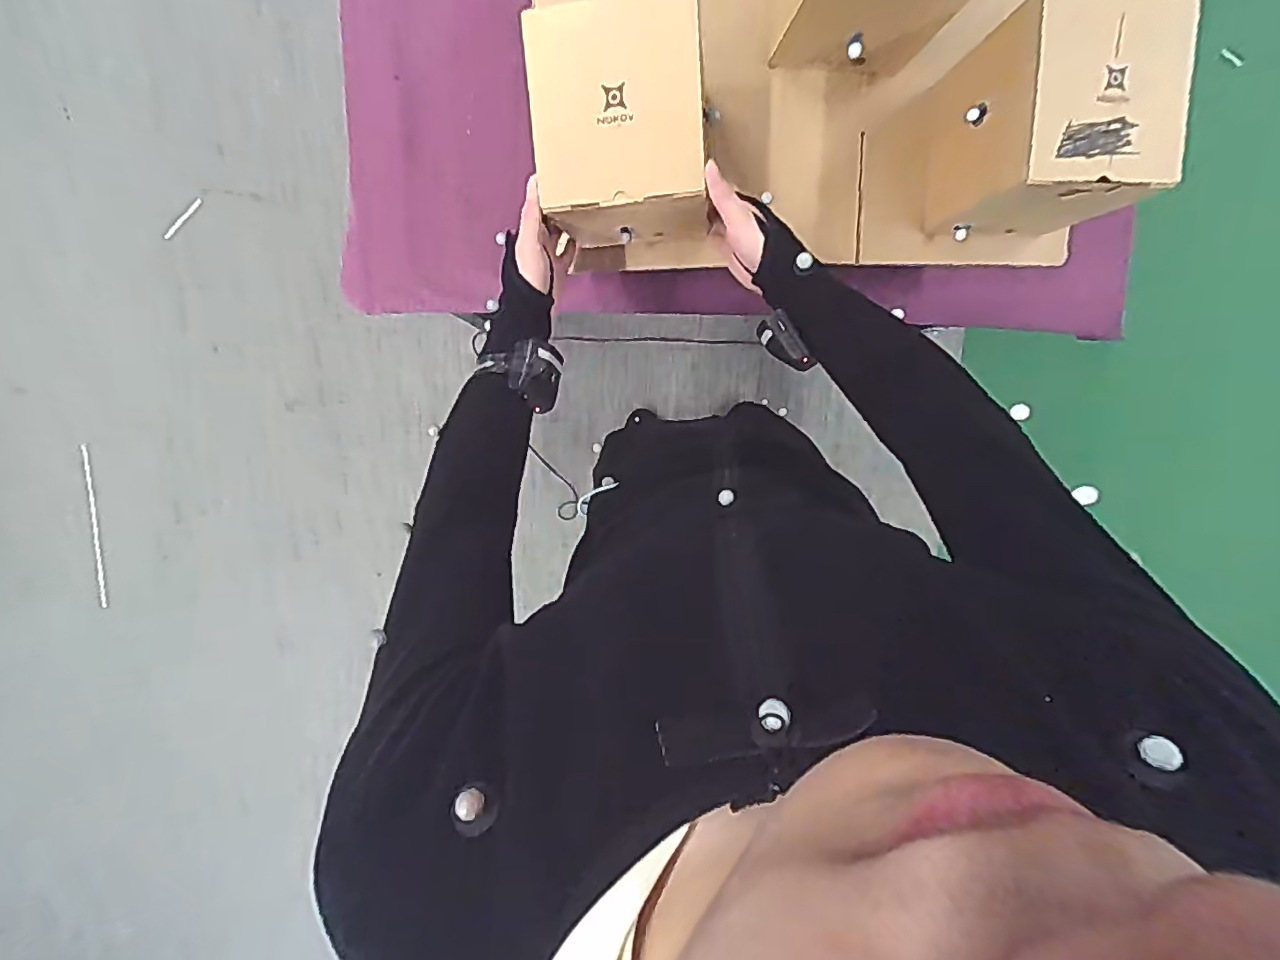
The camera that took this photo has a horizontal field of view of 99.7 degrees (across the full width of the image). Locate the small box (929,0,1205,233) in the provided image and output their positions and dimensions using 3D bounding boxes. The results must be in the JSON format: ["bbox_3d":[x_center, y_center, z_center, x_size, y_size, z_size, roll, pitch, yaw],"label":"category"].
[{"bbox_3d":[0.448,-0.387,0.597,0.168,0.176,0.179,-2,98,-5],"label":"small box"}]

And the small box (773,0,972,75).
[{"bbox_3d":[0.243,-0.561,0.549,0.168,0.176,0.179,-1,99,-6],"label":"small box"}]
